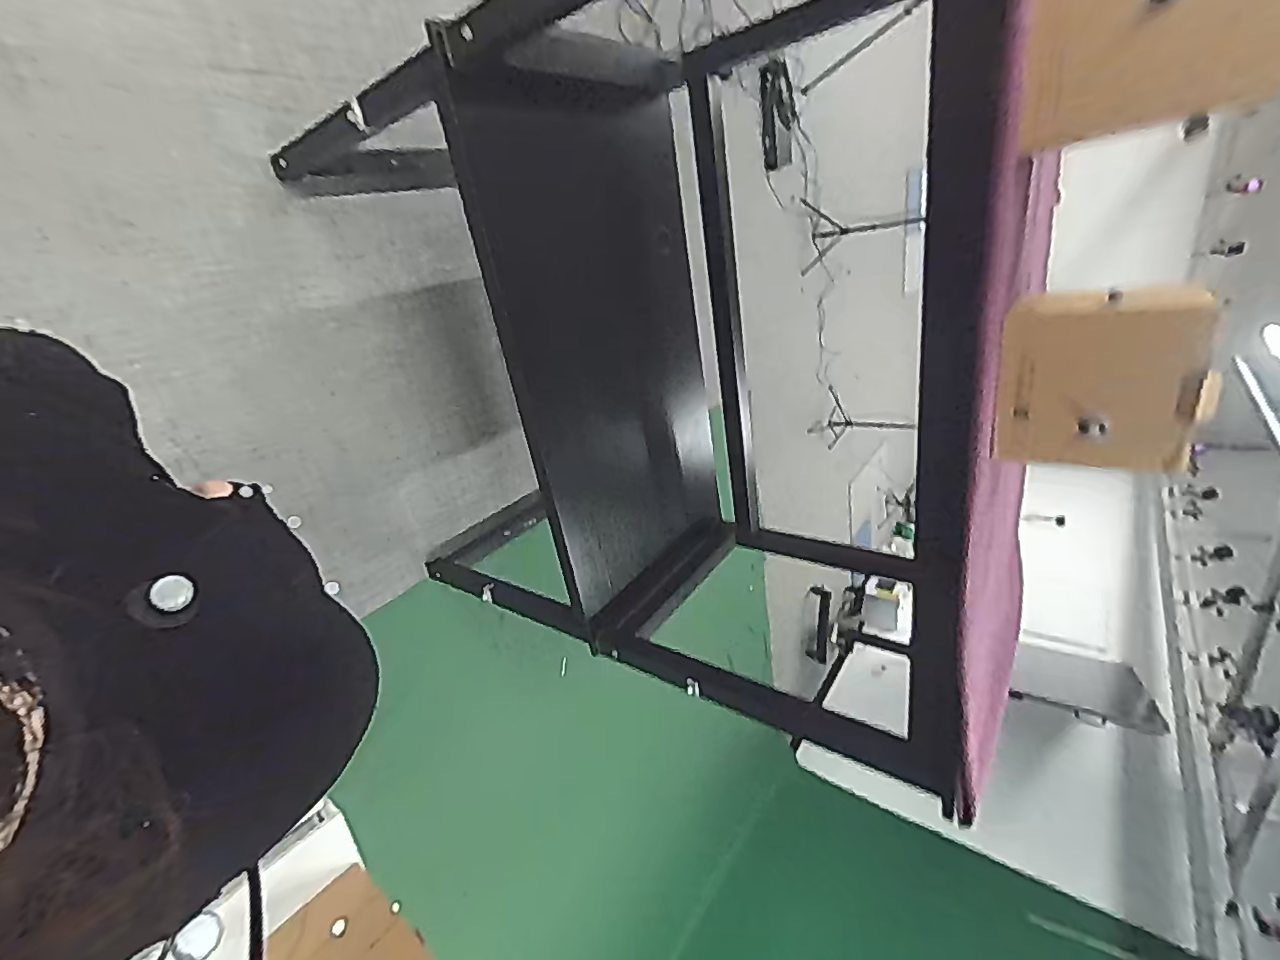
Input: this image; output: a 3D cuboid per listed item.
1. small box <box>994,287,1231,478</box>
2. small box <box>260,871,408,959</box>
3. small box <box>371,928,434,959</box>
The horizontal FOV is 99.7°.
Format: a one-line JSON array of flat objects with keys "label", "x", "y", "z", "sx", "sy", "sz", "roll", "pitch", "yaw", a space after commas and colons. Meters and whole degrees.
[{"label": "small box", "x": 0.512, "y": -0.115, "z": 0.607, "sx": 0.179, "sy": 0.176, "sz": 0.168, "roll": -33, "pitch": 122, "yaw": -45}, {"label": "small box", "x": -0.498, "y": 0.821, "z": 0.911, "sx": 0.179, "sy": 0.176, "sz": 0.168, "roll": -30, "pitch": 119, "yaw": -45}, {"label": "small box", "x": -0.370, "y": 0.842, "z": 0.809, "sx": 0.179, "sy": 0.176, "sz": 0.168, "roll": -27, "pitch": 118, "yaw": -44}]
